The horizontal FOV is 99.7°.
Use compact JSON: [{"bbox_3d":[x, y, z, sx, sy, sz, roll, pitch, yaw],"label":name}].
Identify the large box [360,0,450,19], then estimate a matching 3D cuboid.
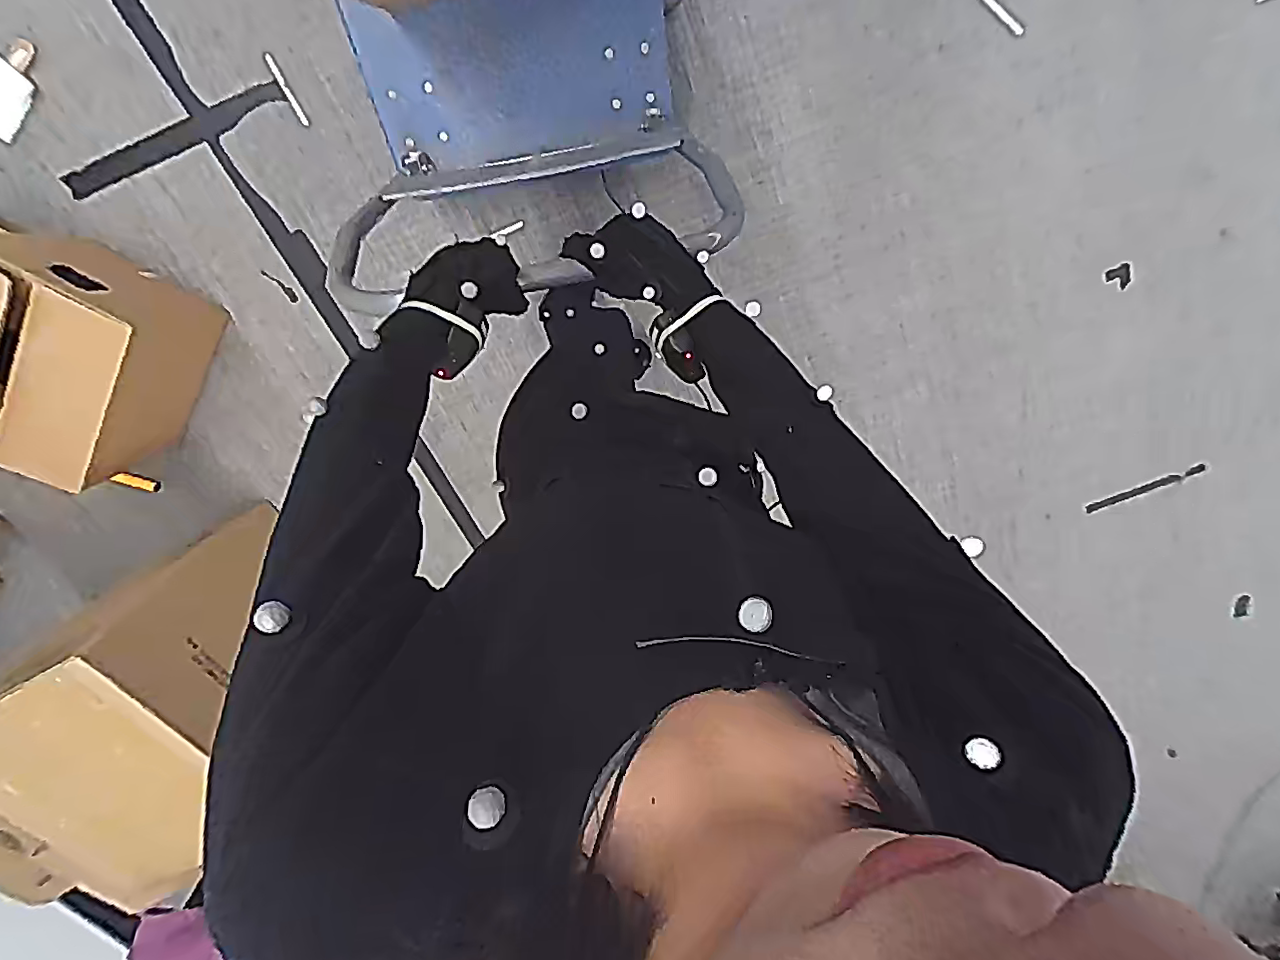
[{"bbox_3d":[-0.280,-0.918,0.754,0.408,0.320,0.320,-18,127,2],"label":"large box"}]
